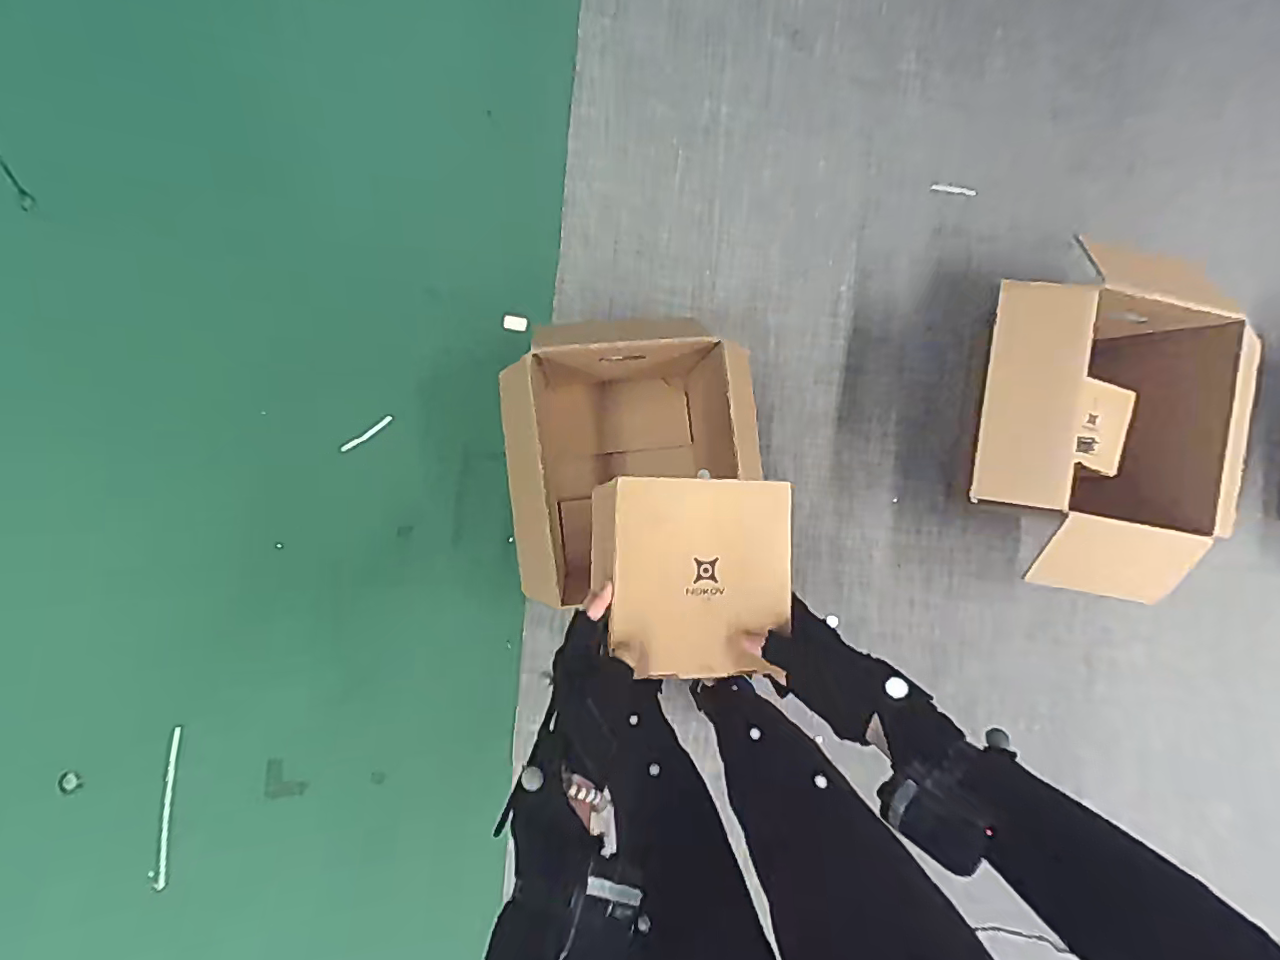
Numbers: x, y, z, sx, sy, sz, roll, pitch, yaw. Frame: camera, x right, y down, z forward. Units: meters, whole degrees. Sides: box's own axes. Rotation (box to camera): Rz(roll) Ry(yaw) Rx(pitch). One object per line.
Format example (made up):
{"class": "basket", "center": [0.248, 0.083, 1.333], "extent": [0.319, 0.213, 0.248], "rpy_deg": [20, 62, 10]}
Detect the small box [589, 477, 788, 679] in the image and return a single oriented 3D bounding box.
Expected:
{"class": "small box", "center": [0.039, 0.093, 0.562], "extent": [0.168, 0.176, 0.179], "rpy_deg": [2, 86, -12]}
